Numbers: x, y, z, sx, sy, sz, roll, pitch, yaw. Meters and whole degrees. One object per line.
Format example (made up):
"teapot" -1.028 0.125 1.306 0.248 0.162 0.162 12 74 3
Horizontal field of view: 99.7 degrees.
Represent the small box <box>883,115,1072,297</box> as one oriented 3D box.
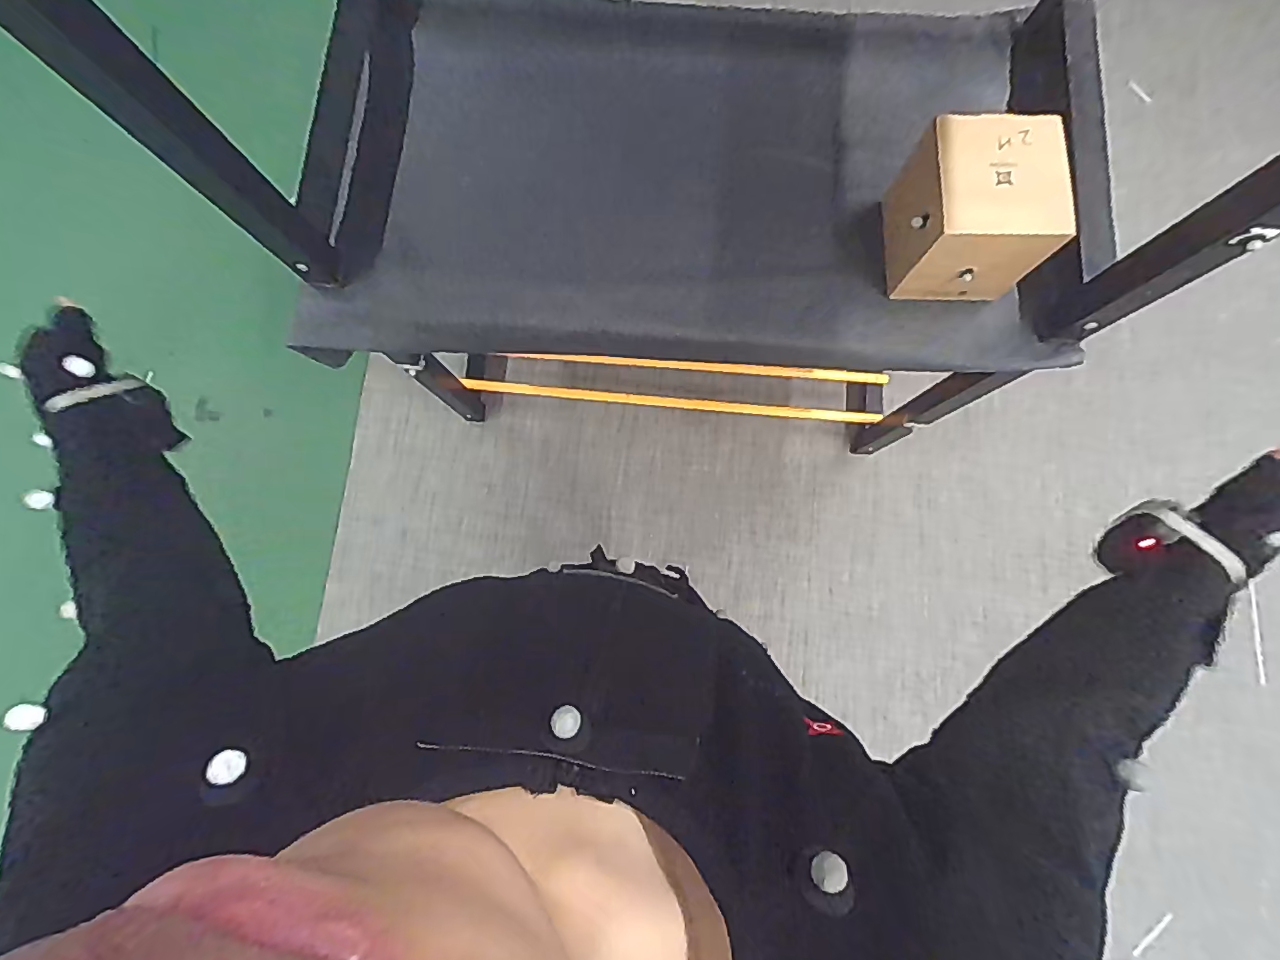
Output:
"small box" 0.467 -0.380 0.775 0.168 0.176 0.179 1 80 1
